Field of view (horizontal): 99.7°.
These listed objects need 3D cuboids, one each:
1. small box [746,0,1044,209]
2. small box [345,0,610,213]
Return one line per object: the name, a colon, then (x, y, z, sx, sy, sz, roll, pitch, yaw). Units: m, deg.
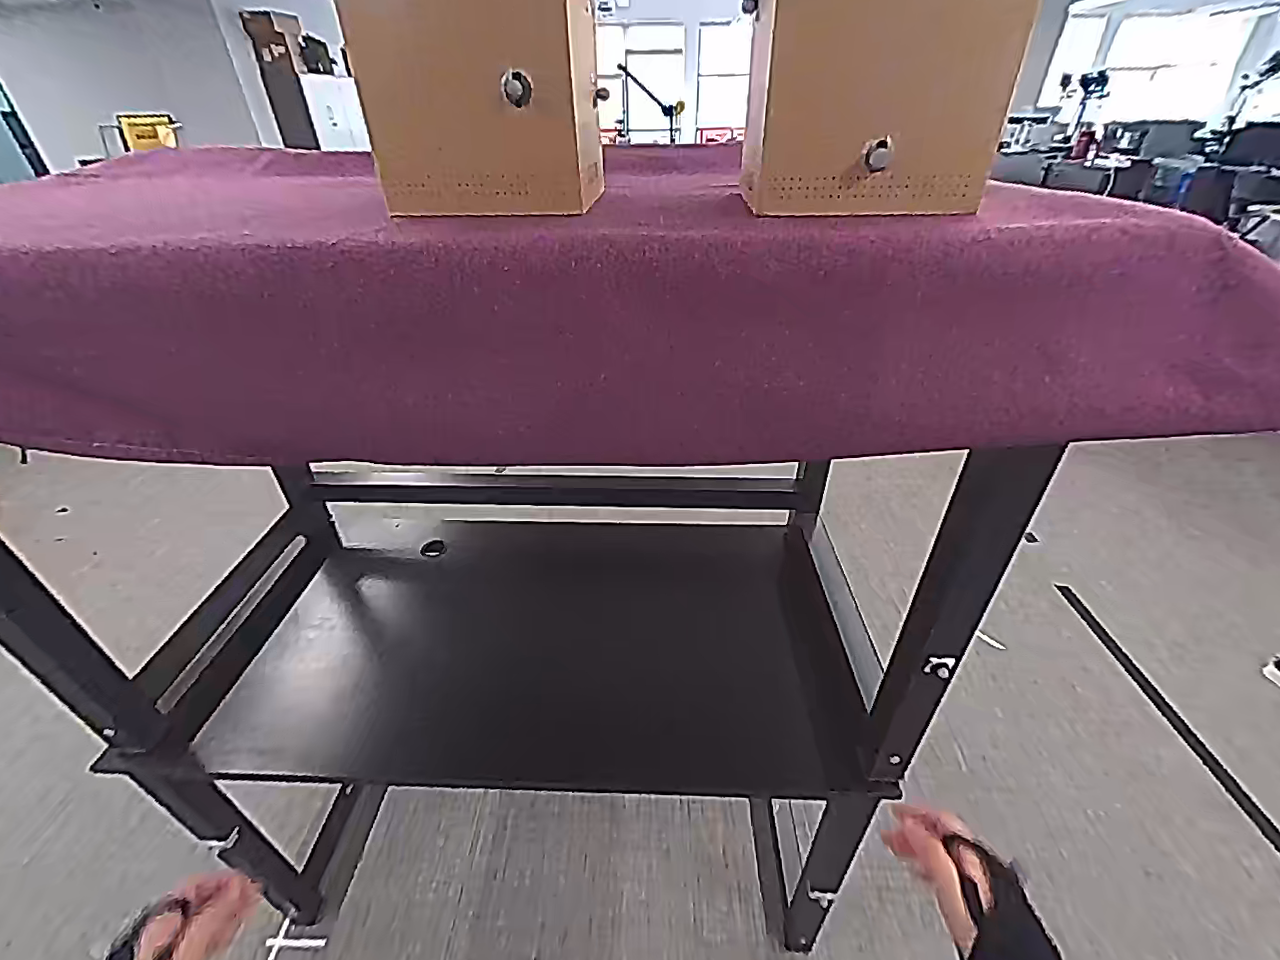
small box: (0.190, -0.330, 0.449, 0.179, 0.176, 0.168, 2, 34, 4)
small box: (-0.124, -0.347, 0.489, 0.179, 0.176, 0.168, 1, 34, 4)
